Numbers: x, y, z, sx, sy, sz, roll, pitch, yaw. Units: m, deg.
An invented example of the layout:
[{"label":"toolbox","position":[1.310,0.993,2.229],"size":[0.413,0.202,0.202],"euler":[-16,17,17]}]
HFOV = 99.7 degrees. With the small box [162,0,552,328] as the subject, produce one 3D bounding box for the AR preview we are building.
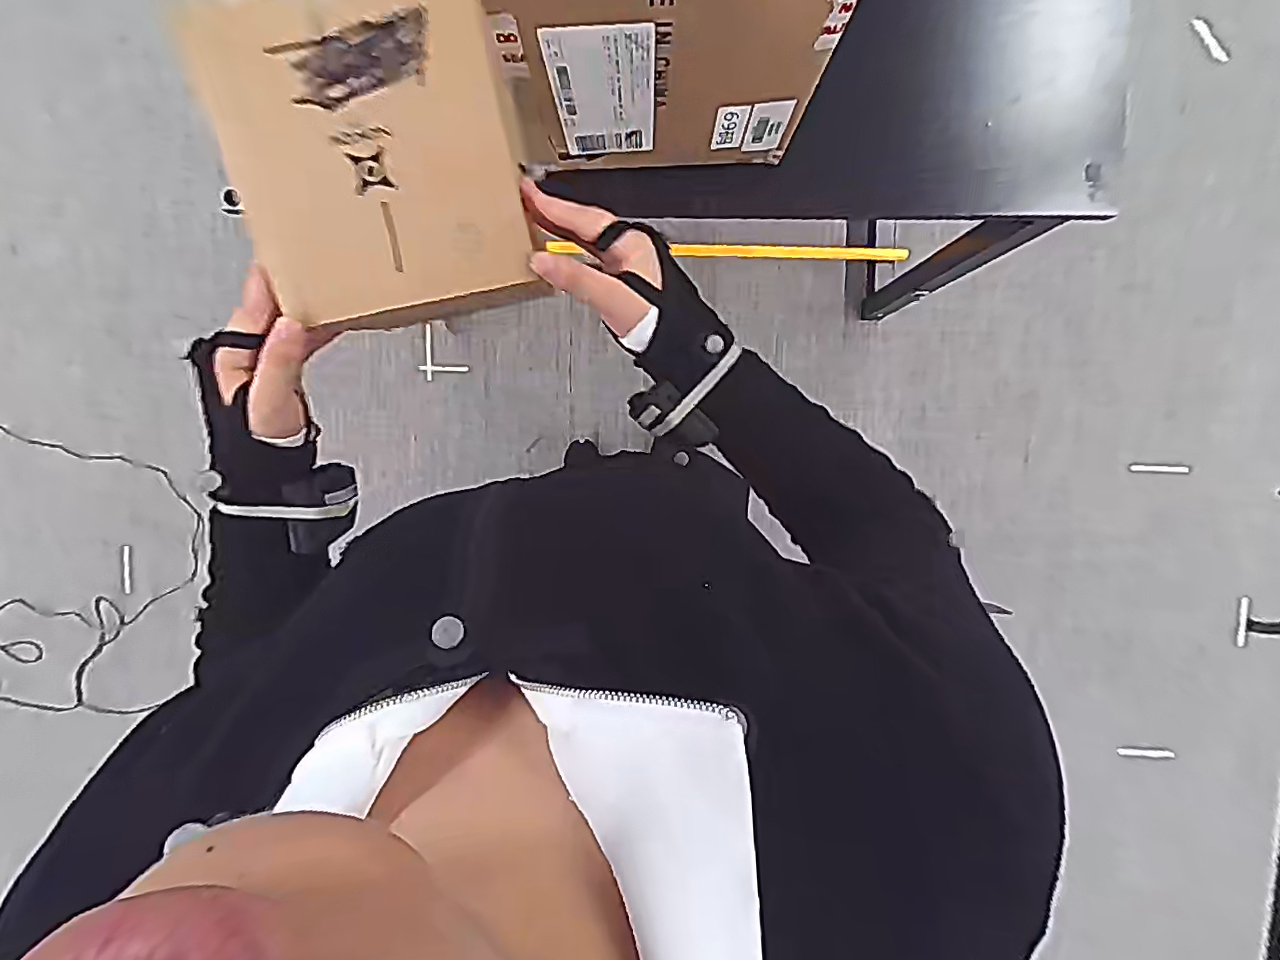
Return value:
[{"label":"small box","position":[-0.167,-0.215,0.392],"size":[0.168,0.176,0.179],"euler":[-13,108,-1]}]
